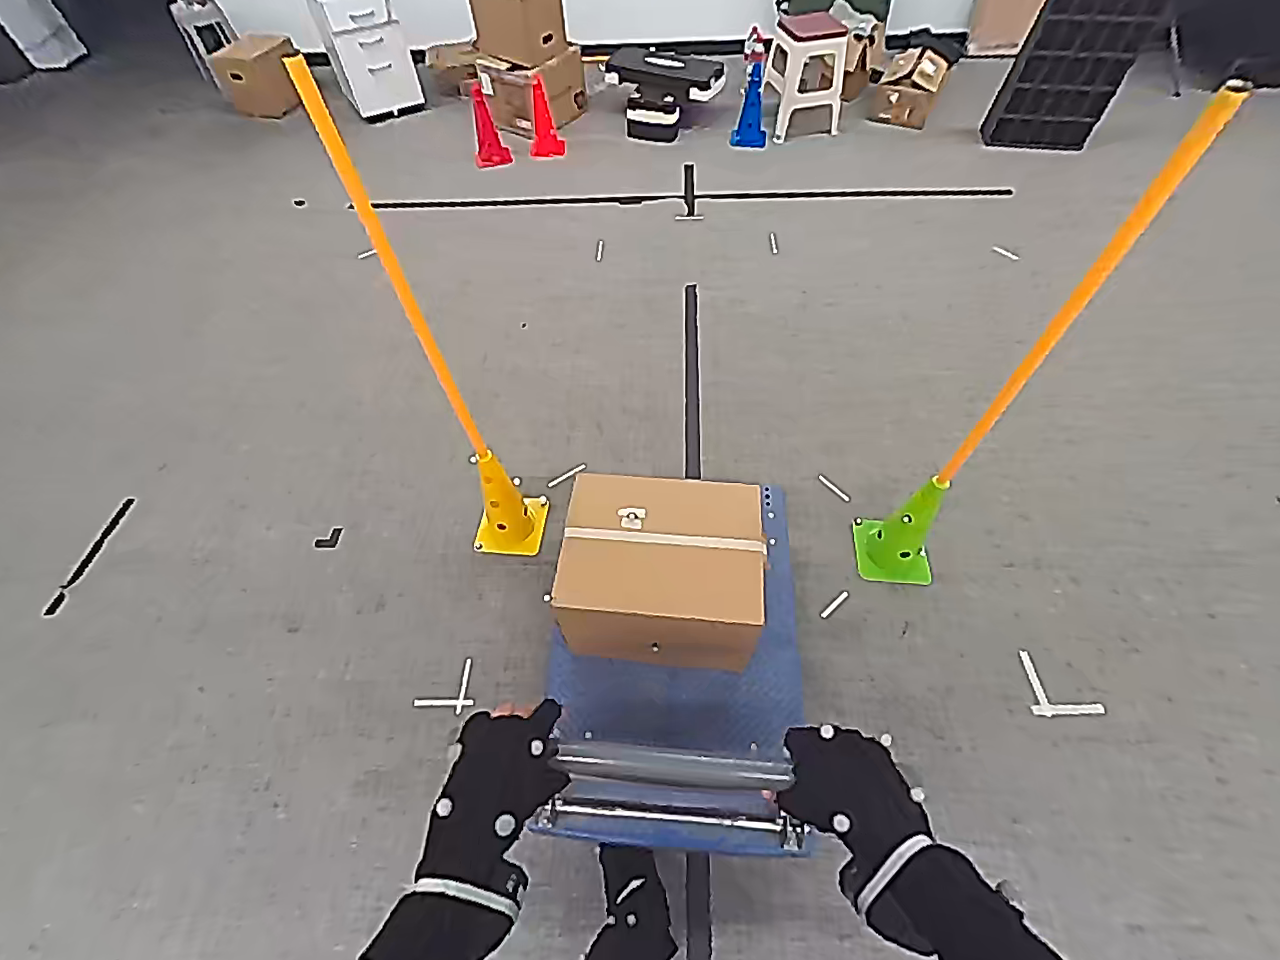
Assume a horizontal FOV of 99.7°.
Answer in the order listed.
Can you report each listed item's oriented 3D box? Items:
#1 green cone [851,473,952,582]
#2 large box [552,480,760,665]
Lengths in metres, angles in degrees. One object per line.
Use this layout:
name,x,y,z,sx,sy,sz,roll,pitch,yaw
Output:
green cone,0.729,0.105,1.450,0.202,0.368,0.200,4,56,4
large box,0.049,0.217,1.229,0.408,0.320,0.320,3,55,6
